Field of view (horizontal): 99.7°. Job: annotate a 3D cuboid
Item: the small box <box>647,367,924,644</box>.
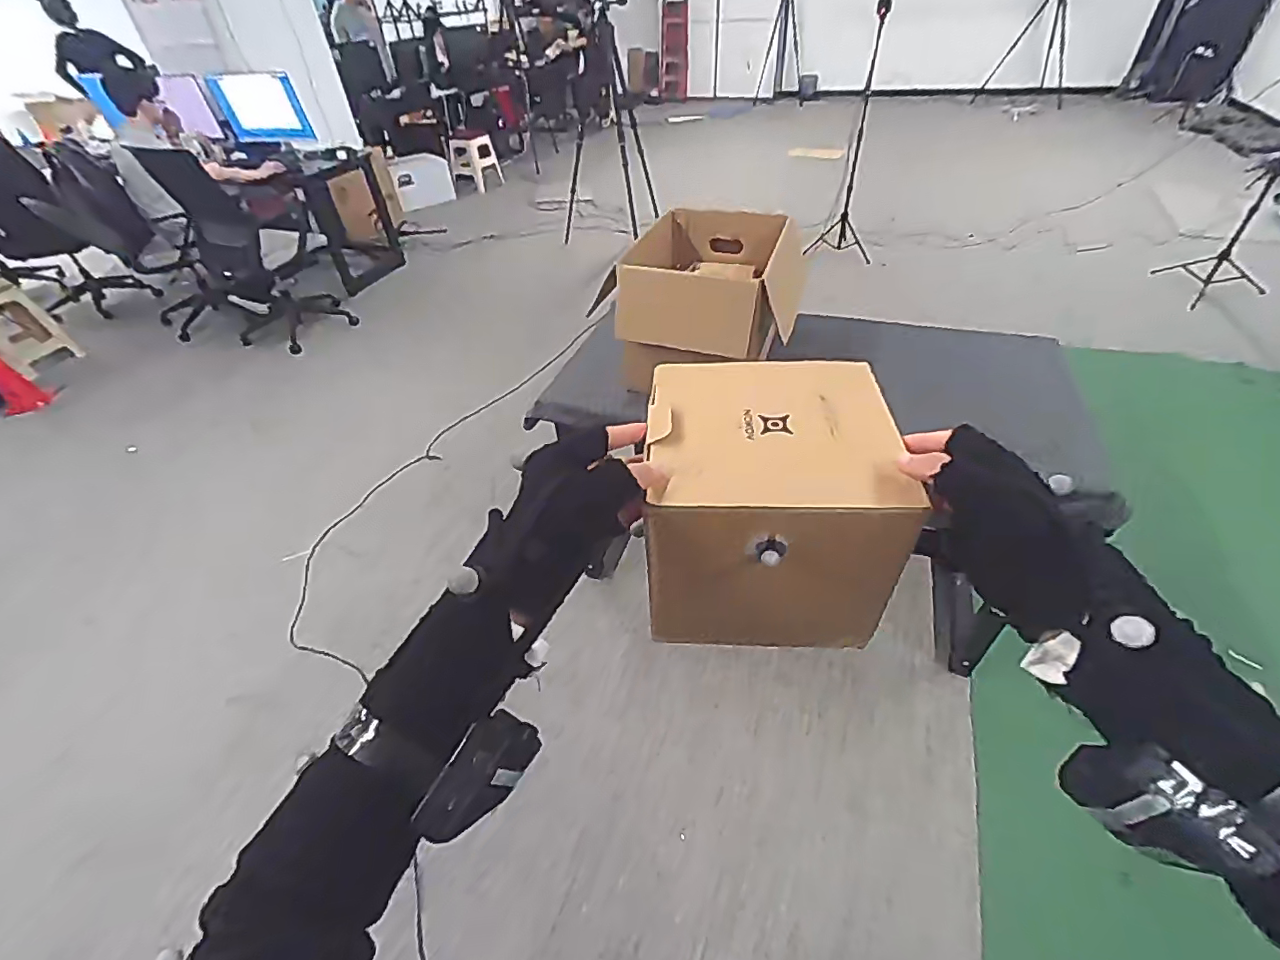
[{"bbox_3d":[0.100,0.022,0.452,0.179,0.176,0.168,1,44,4],"label":"small box"}]
